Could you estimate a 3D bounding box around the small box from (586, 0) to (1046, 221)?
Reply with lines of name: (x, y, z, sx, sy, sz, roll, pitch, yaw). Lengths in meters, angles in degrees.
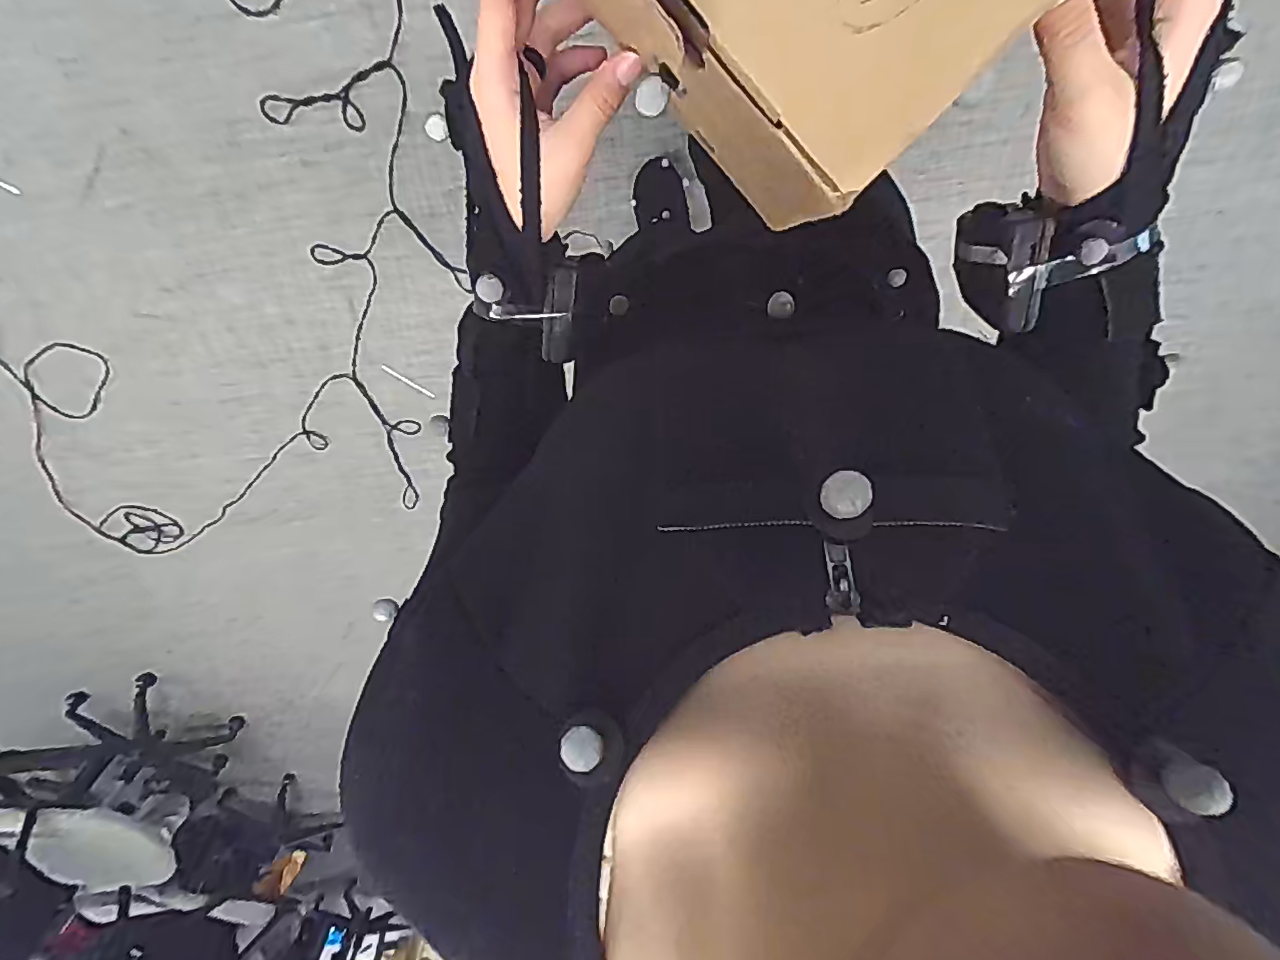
small box: (0.073, -0.223, 0.202, 0.168, 0.176, 0.179, 43, 111, -11)
